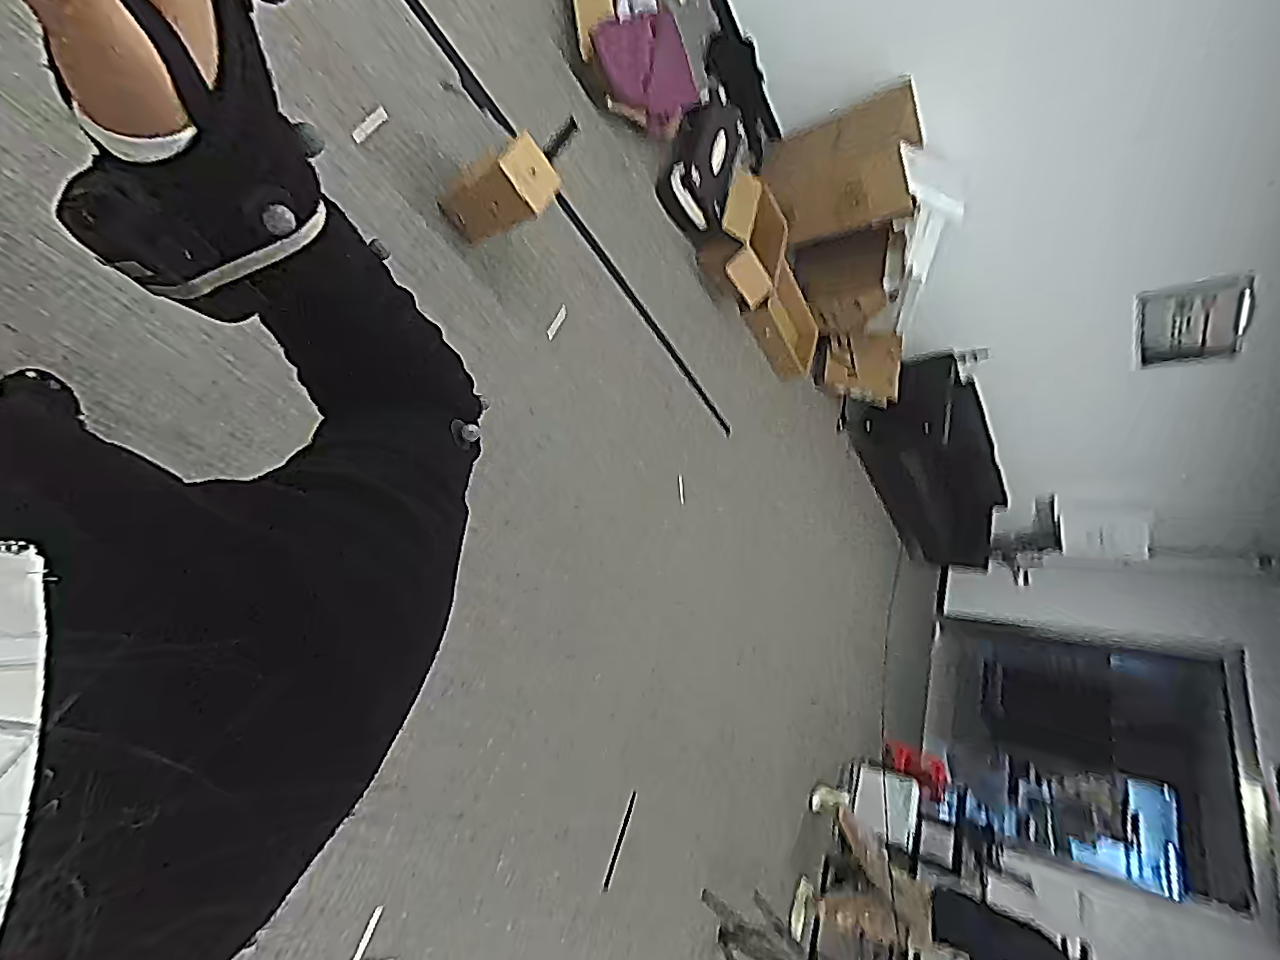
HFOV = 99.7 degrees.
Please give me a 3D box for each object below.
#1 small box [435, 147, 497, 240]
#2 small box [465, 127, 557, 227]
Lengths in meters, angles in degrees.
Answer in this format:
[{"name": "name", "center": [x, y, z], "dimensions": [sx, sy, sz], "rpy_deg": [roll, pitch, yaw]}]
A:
[{"name": "small box", "center": [-0.513, -0.900, 1.708], "dimensions": [0.168, 0.176, 0.179], "rpy_deg": [45, 57, -38]}, {"name": "small box", "center": [-0.385, -0.892, 1.603], "dimensions": [0.168, 0.176, 0.179], "rpy_deg": [46, 56, -38]}]
